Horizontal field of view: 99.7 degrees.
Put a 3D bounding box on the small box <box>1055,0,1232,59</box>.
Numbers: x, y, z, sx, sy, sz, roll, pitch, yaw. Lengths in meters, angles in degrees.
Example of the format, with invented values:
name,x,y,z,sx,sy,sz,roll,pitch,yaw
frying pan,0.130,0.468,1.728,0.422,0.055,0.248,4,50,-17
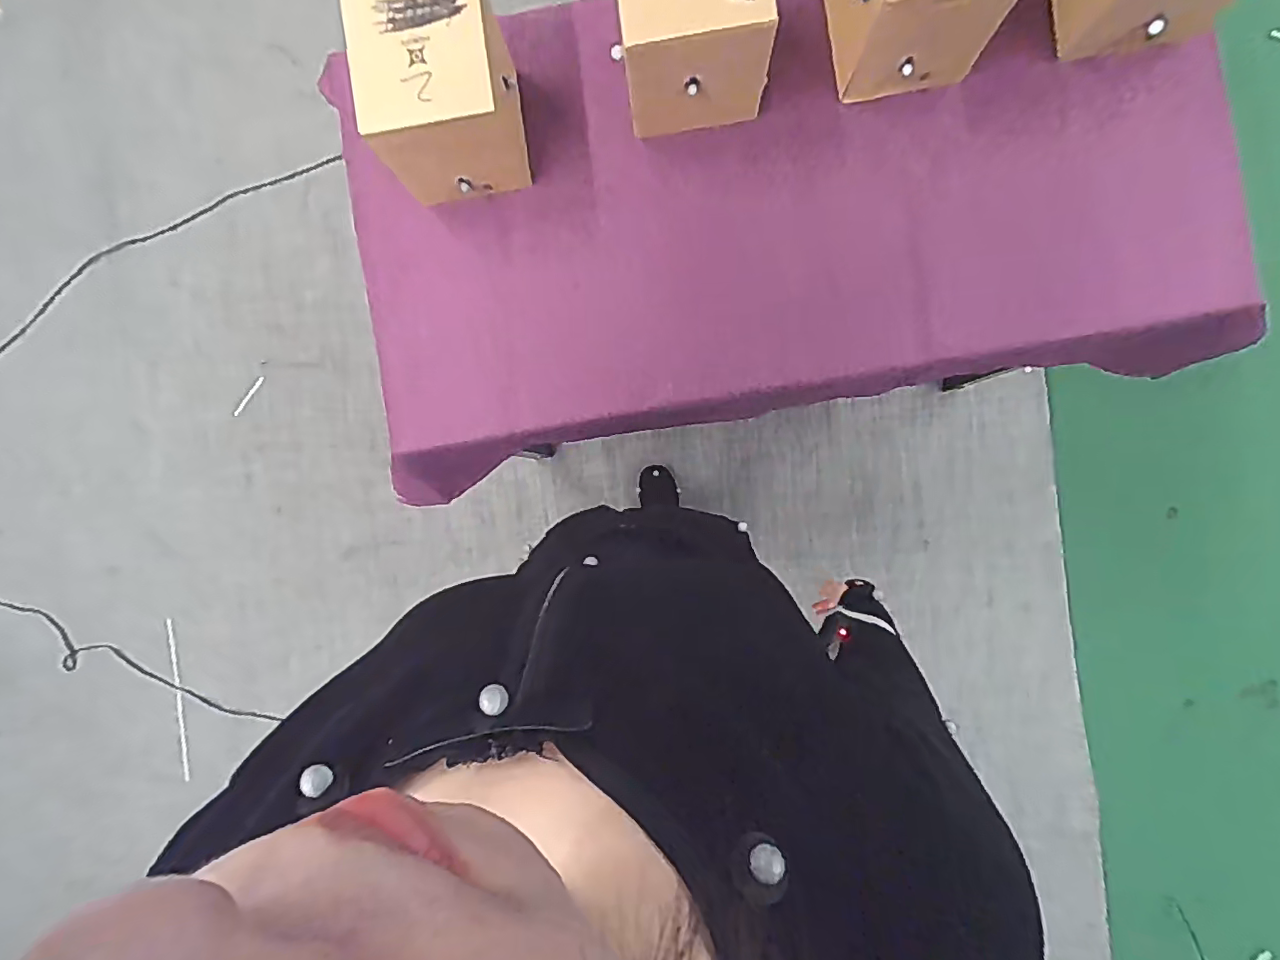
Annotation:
name,x,y,z,sx,sy,sz,roll,pitch,yaw
small box,0.629,-0.656,0.640,0.168,0.176,0.179,-6,92,5

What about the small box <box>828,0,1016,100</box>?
name,x,y,z,sx,sy,sz,roll,pitch,yaw
small box,0.342,-0.623,0.668,0.168,0.176,0.179,-9,91,4

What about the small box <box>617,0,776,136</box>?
name,x,y,z,sx,sy,sz,roll,pitch,yaw
small box,0.064,-0.578,0.688,0.179,0.176,0.168,-7,89,5
